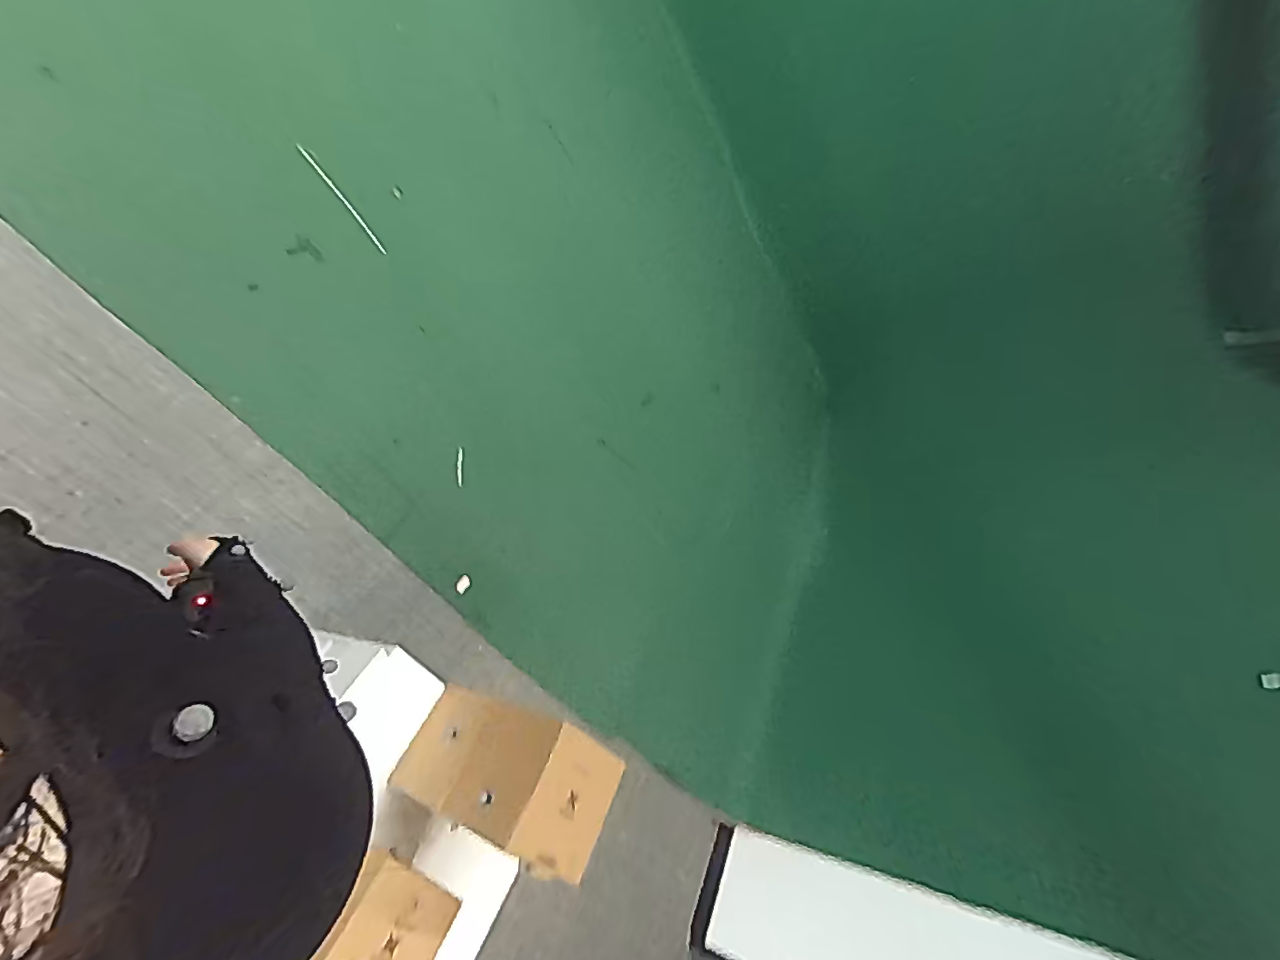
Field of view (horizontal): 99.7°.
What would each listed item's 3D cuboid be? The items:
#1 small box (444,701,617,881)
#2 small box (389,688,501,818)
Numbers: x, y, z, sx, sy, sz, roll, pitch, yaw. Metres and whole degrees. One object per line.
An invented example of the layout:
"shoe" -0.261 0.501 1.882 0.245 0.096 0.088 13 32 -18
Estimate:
"small box" -0.173 0.473 0.842 0.168 0.176 0.179 52 49 -33
"small box" -0.298 0.487 0.946 0.168 0.176 0.179 52 49 -31
